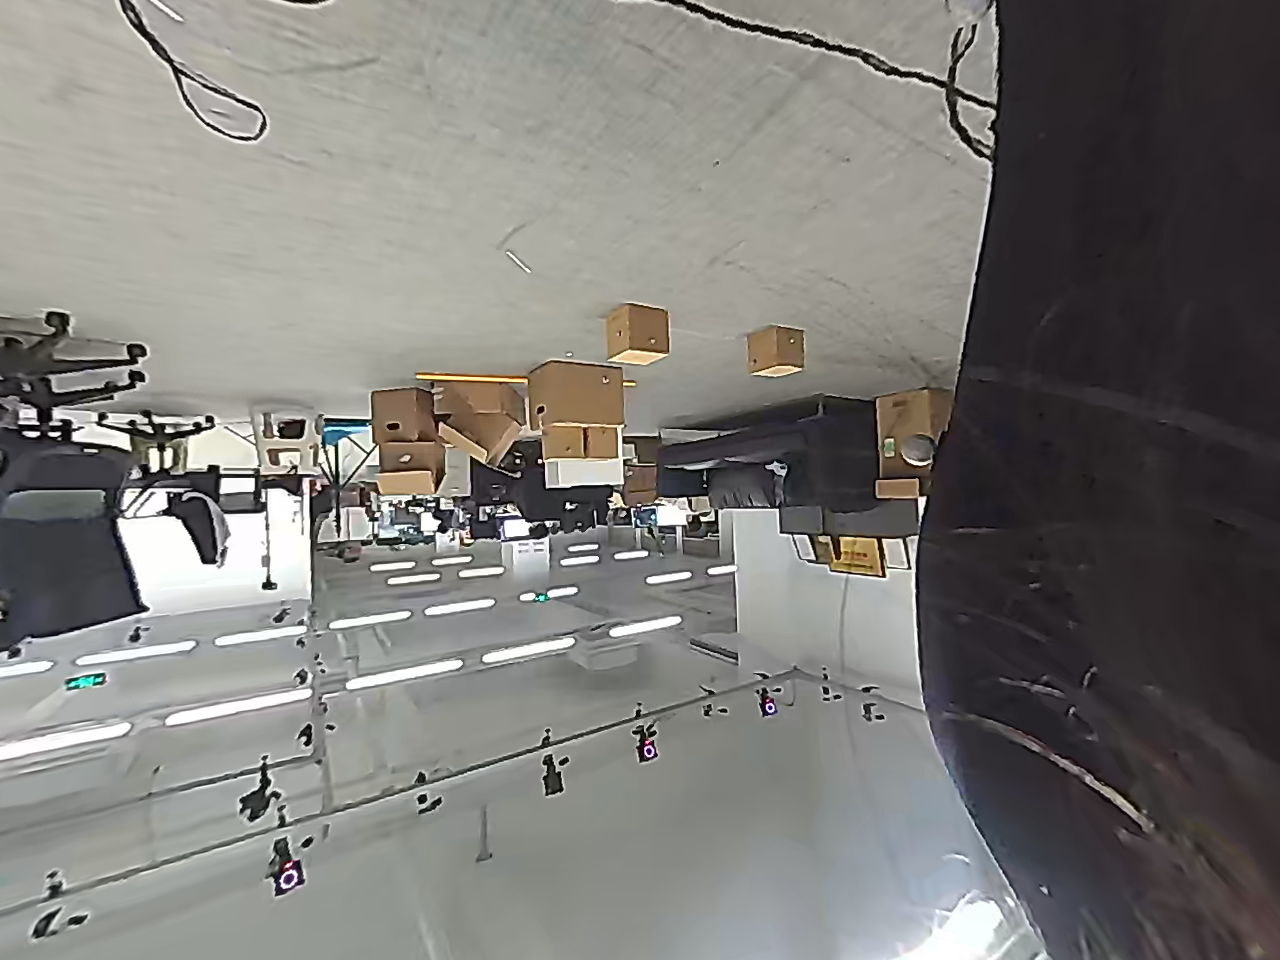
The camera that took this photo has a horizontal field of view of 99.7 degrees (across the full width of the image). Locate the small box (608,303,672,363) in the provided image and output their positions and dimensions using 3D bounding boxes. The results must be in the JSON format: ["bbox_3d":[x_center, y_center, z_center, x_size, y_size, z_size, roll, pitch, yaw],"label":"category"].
[{"bbox_3d":[-0.005,-0.536,1.978,0.179,0.176,0.168,-3,179,-31],"label":"small box"}]

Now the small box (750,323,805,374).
[{"bbox_3d":[0.588,-0.561,2.320,0.168,0.176,0.179,-3,179,-31],"label":"small box"}]
